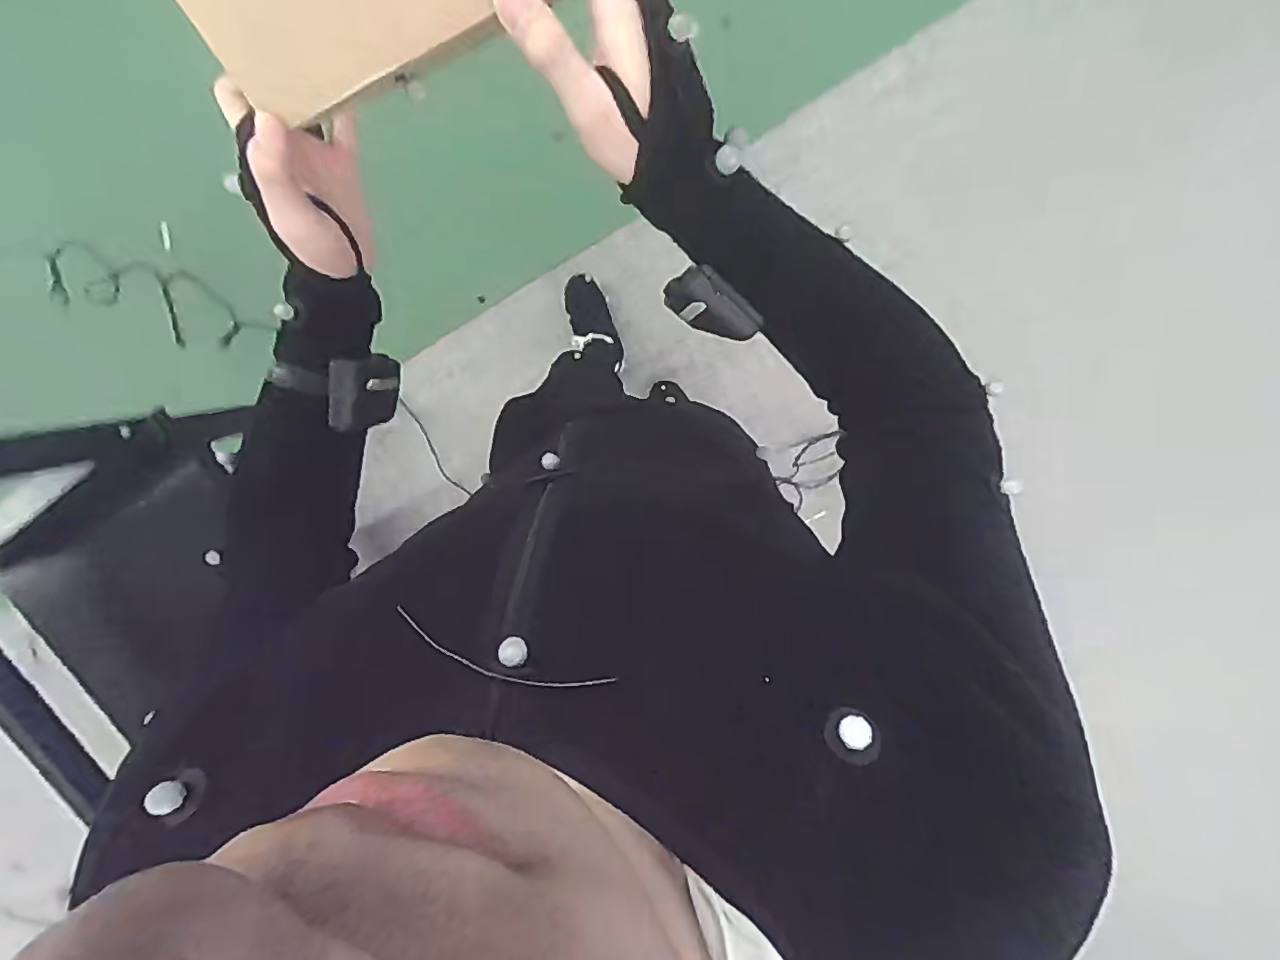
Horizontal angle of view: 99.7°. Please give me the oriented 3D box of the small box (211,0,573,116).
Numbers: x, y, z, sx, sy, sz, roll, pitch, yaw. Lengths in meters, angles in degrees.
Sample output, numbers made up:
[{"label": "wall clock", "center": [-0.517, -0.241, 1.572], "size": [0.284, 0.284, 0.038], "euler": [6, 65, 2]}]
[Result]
[{"label": "small box", "center": [-0.147, -0.342, 0.307], "size": [0.179, 0.176, 0.168], "euler": [-9, 131, 20]}]
